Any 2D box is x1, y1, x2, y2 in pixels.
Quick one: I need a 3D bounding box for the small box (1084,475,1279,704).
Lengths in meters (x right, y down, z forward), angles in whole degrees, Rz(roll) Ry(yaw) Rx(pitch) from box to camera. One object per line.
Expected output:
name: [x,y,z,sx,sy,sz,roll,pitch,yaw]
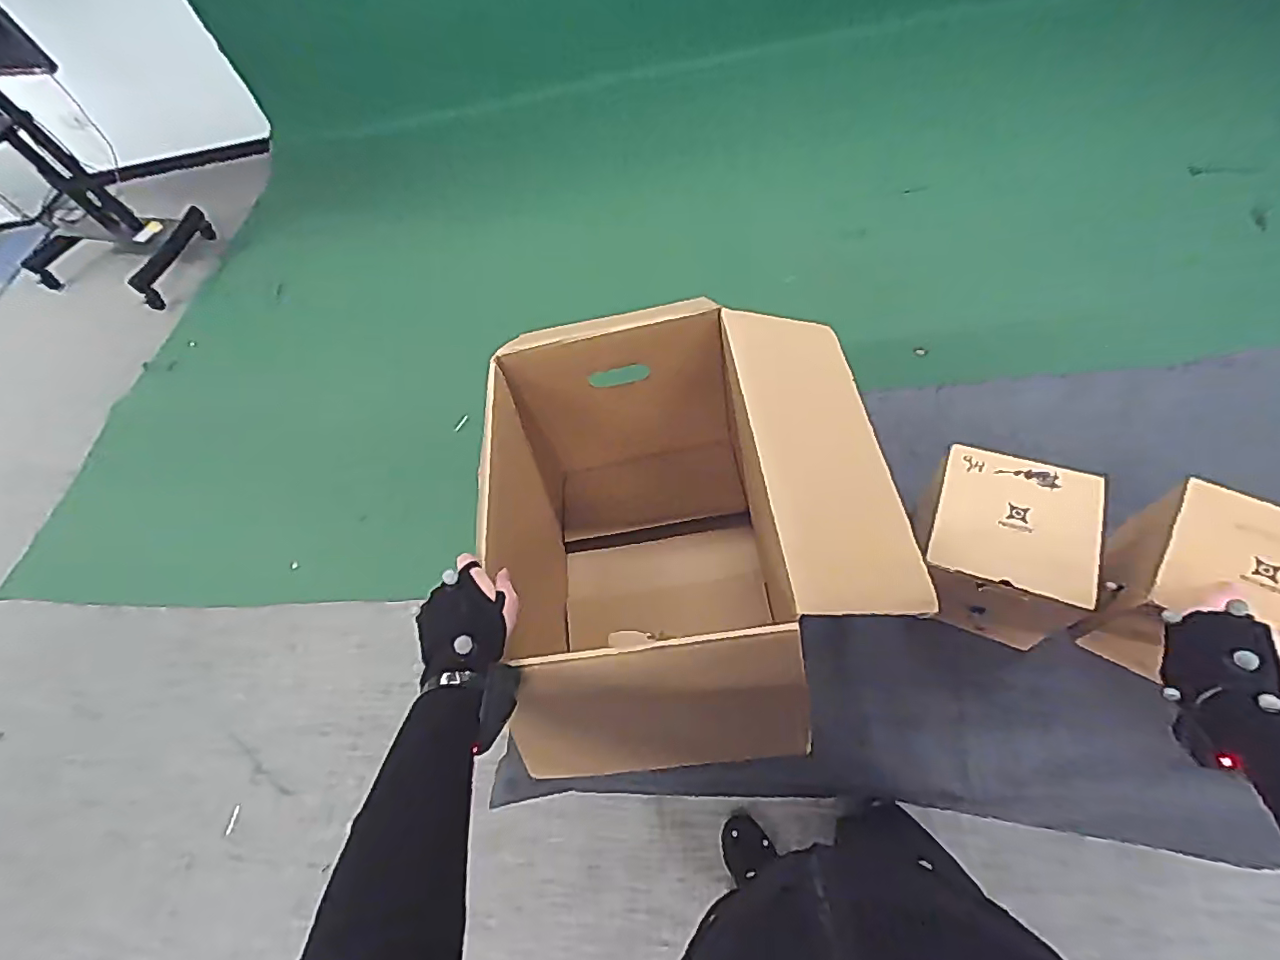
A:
small box: [0.660,0.132,0.622,0.168,0.176,0.179,27,69,24]
